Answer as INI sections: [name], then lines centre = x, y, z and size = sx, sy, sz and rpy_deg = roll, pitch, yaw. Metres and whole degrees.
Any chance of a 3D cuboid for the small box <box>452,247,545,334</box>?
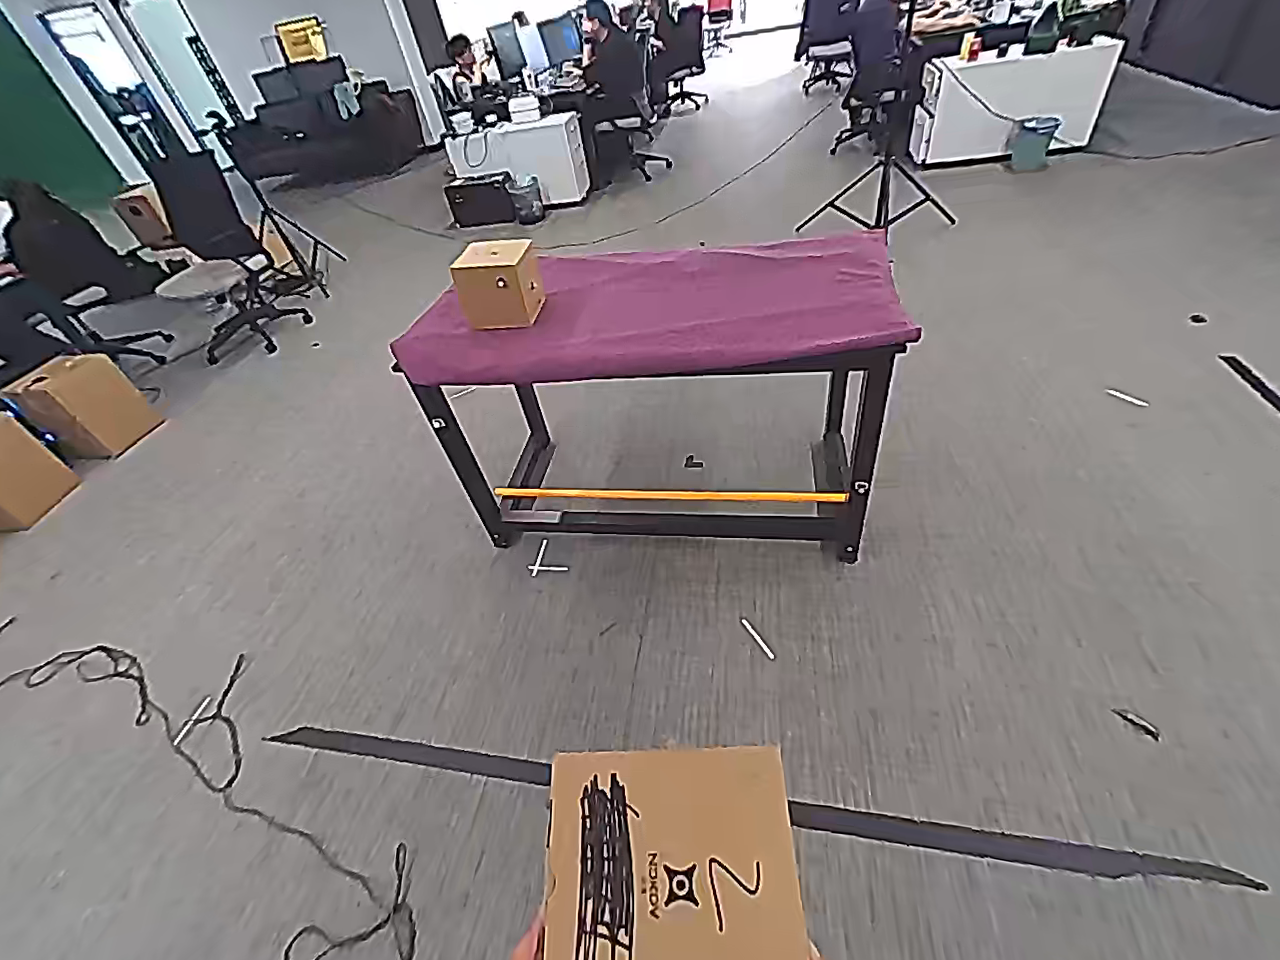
[small box]
centre = -0.366, -0.502, 1.440
size = 0.179, 0.176, 0.168
rpy_deg = 0, 43, 9
